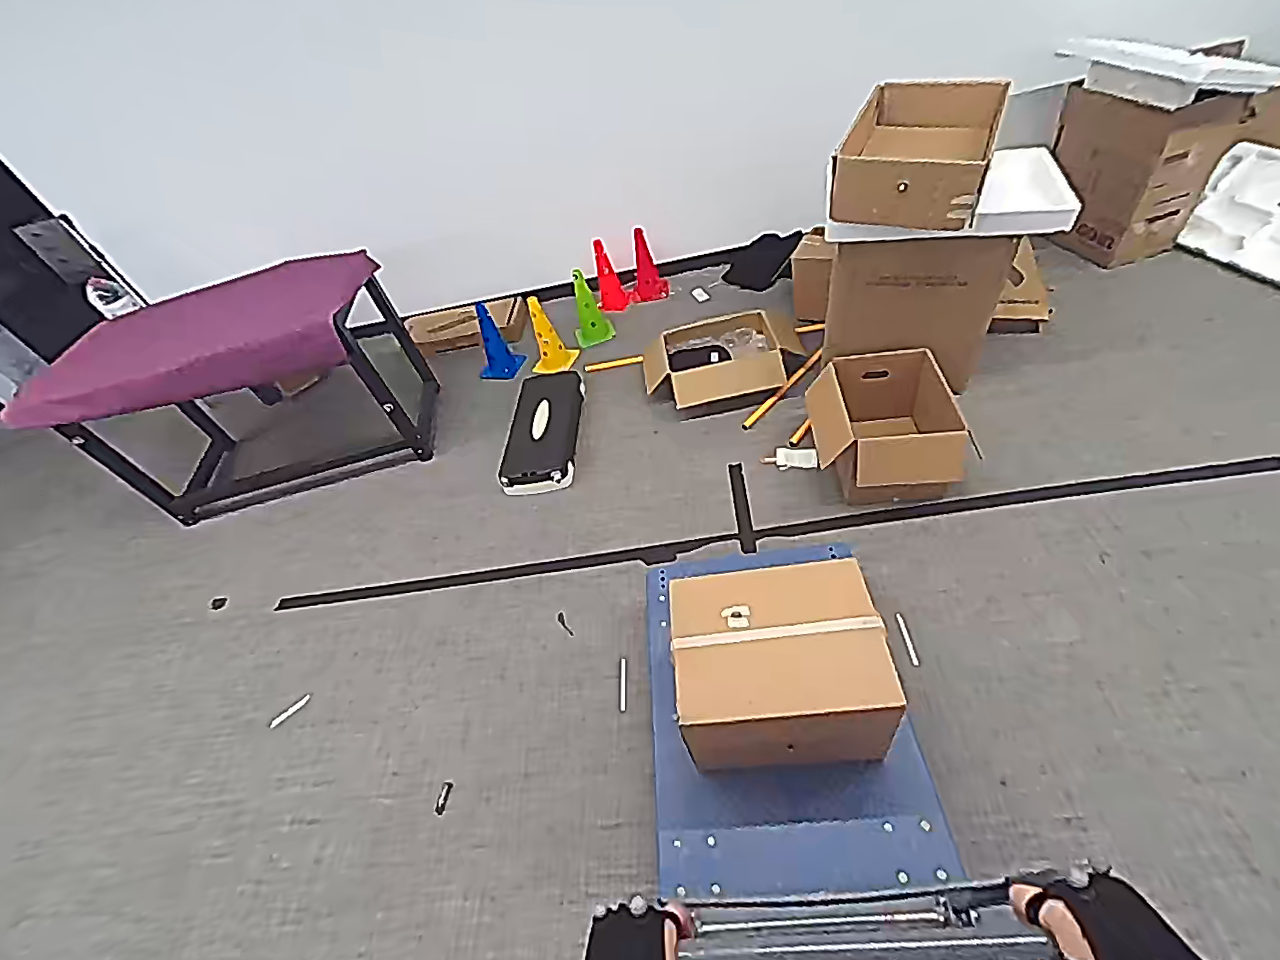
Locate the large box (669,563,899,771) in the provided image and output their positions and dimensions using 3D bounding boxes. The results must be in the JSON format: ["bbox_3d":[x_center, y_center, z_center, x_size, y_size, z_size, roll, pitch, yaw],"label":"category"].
[{"bbox_3d":[0.296,0.421,1.192,0.408,0.320,0.320,-10,45,8],"label":"large box"}]
